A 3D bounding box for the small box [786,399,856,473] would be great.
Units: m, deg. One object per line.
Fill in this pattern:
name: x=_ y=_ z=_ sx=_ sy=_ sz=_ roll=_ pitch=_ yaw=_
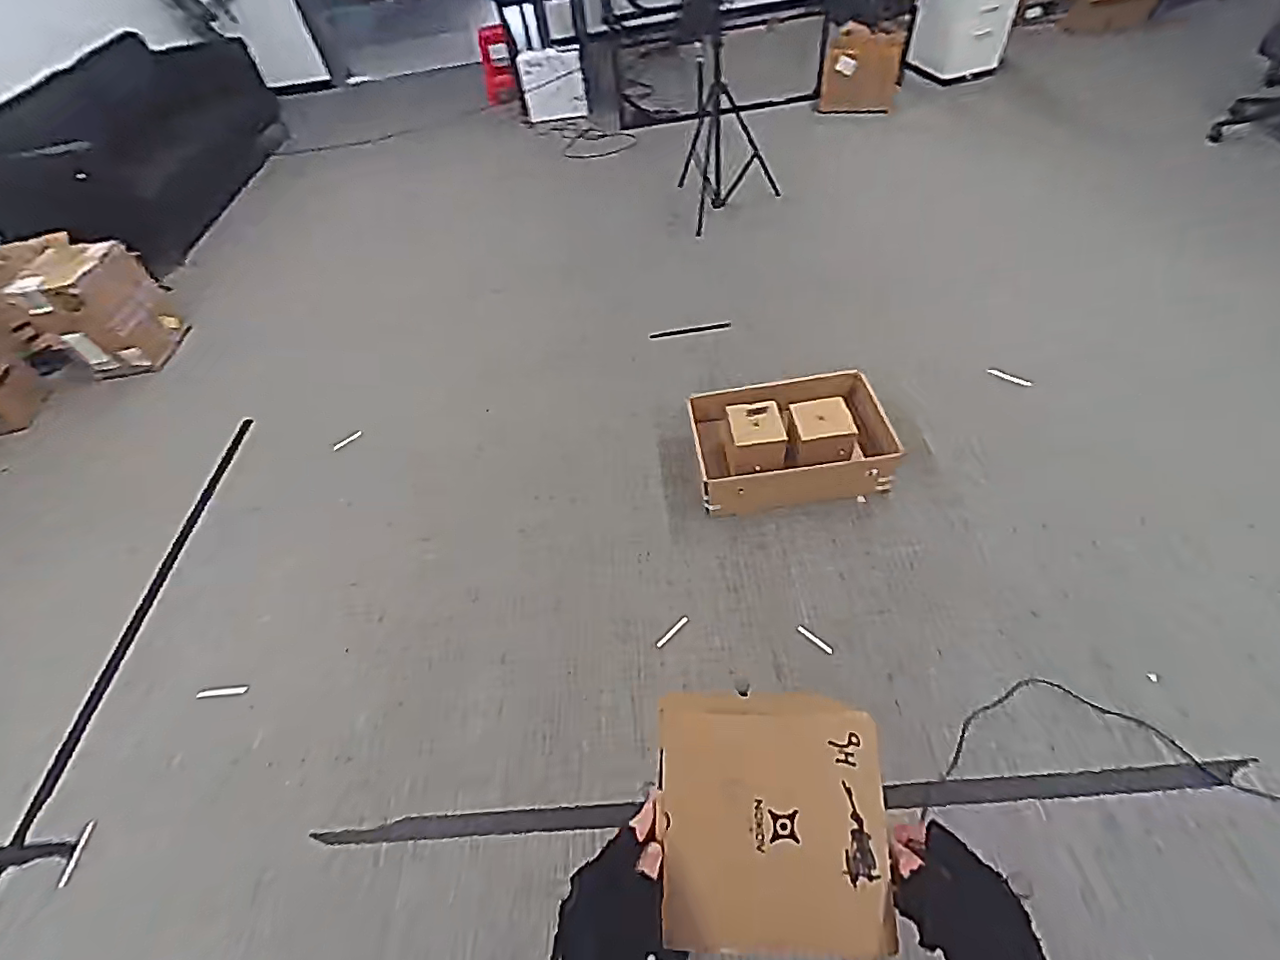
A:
small box: x=0.593 y=-0.144 z=1.792 sx=0.179 sy=0.176 sz=0.168 roll=-9 pitch=51 yaw=4
